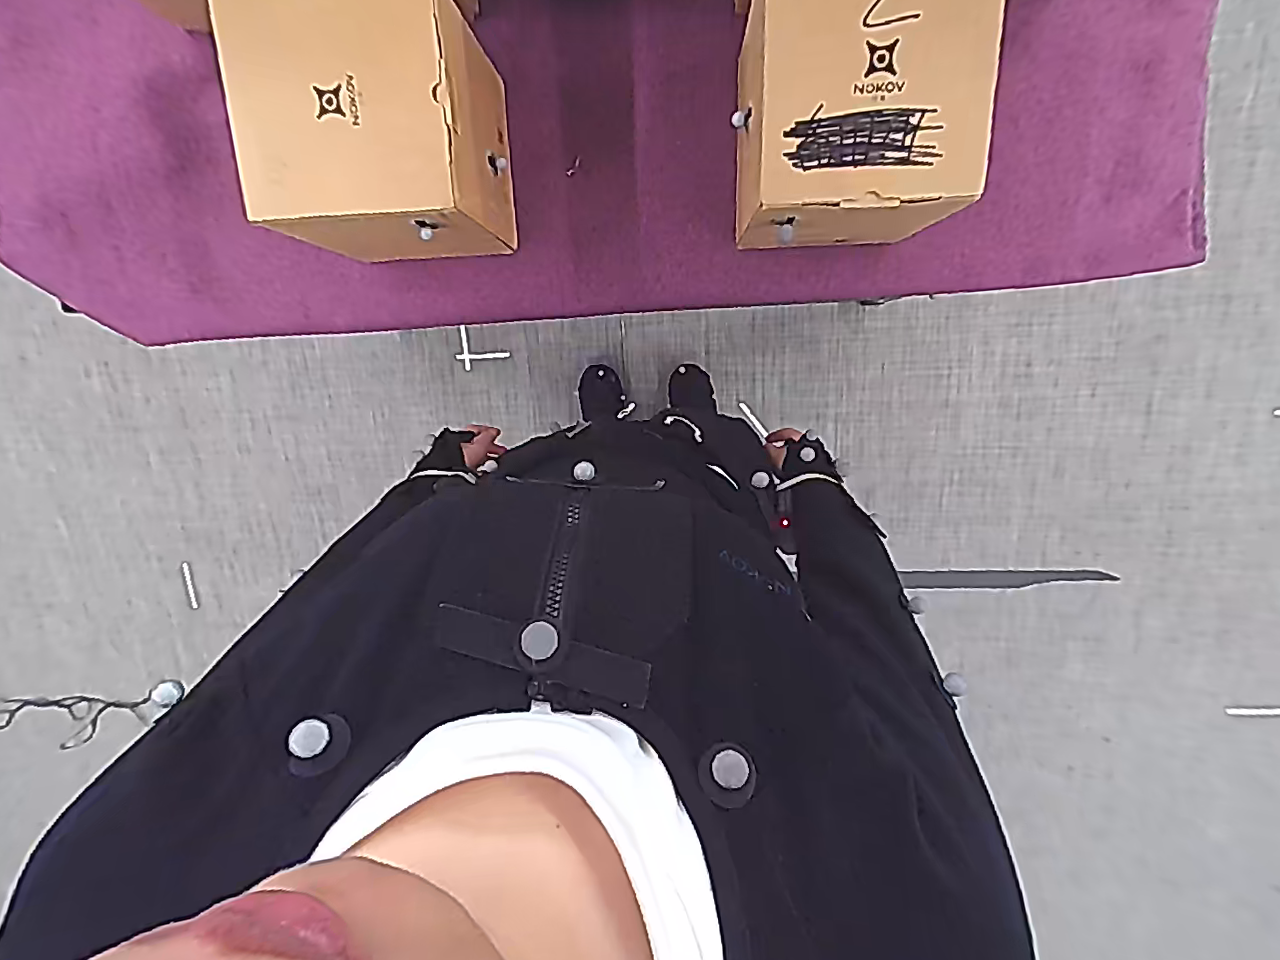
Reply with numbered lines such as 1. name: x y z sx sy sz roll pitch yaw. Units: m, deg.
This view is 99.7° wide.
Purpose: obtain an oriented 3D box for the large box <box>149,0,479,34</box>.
1. large box: -0.322 -0.617 0.362 0.320 0.320 0.408 0 106 4
